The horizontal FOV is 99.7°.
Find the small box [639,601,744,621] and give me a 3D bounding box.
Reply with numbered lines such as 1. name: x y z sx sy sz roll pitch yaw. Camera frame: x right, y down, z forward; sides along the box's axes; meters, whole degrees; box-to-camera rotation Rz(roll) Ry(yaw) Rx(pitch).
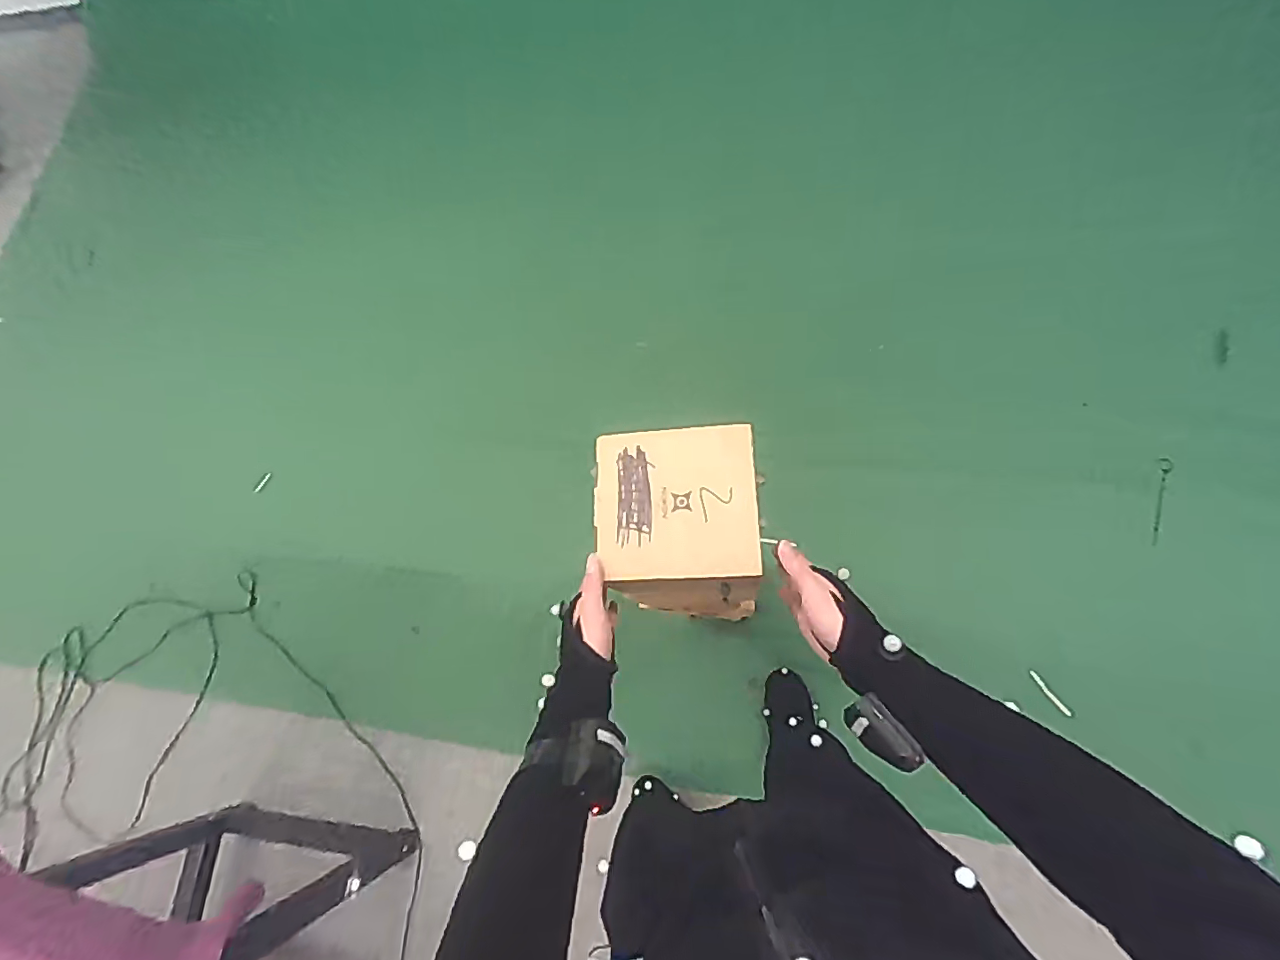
1. small box: 0.103 0.152 0.958 0.168 0.176 0.179 4 76 12

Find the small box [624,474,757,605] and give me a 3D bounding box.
1. small box: 0.078 0.096 0.805 0.179 0.176 0.168 -5 72 11
